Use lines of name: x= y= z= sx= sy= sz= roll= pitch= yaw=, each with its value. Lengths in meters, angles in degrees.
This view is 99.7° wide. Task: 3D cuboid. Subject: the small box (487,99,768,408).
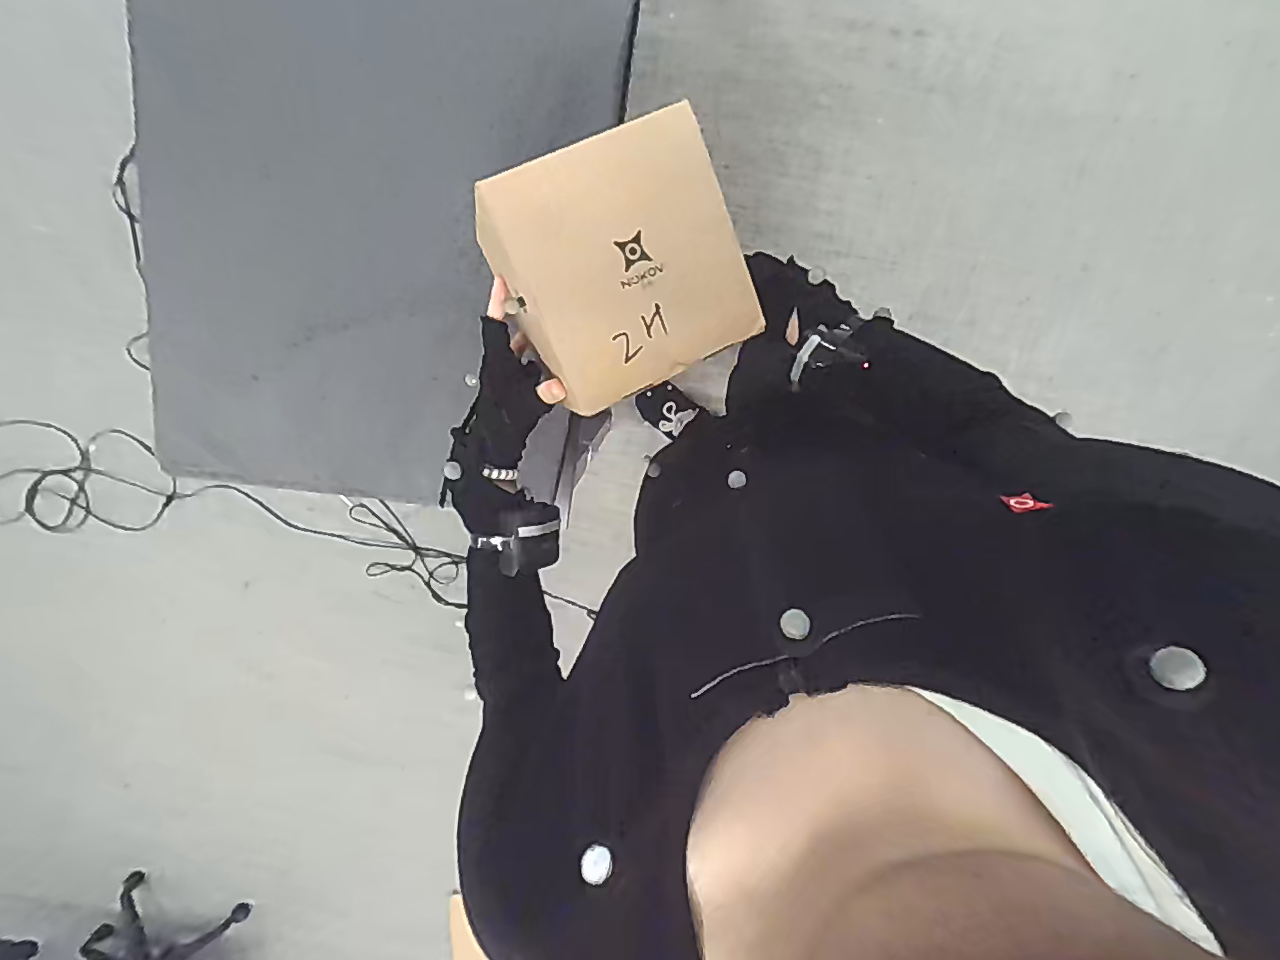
small box: x=-0.023 y=-0.176 z=0.468 sx=0.168 sy=0.176 sz=0.179 roll=-26 pitch=107 yaw=-9
